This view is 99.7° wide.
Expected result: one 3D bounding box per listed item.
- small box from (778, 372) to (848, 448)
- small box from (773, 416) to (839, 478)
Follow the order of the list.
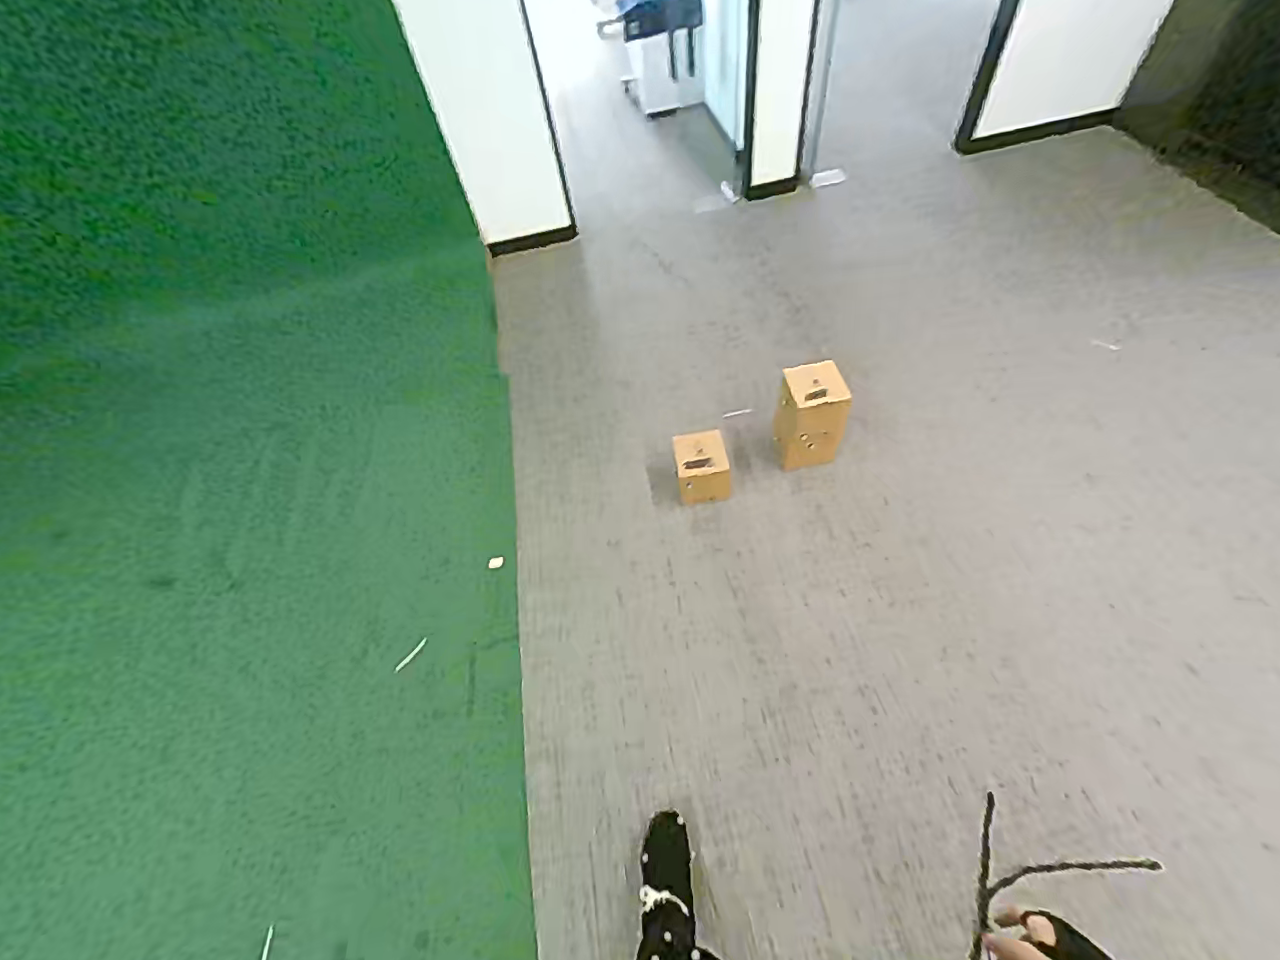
[{"bbox_3d":[0.554,-0.219,1.752,0.168,0.176,0.179,-10,53,1],"label":"small box"},{"bbox_3d":[0.570,-0.125,1.886,0.179,0.176,0.168,-11,54,-1],"label":"small box"}]
